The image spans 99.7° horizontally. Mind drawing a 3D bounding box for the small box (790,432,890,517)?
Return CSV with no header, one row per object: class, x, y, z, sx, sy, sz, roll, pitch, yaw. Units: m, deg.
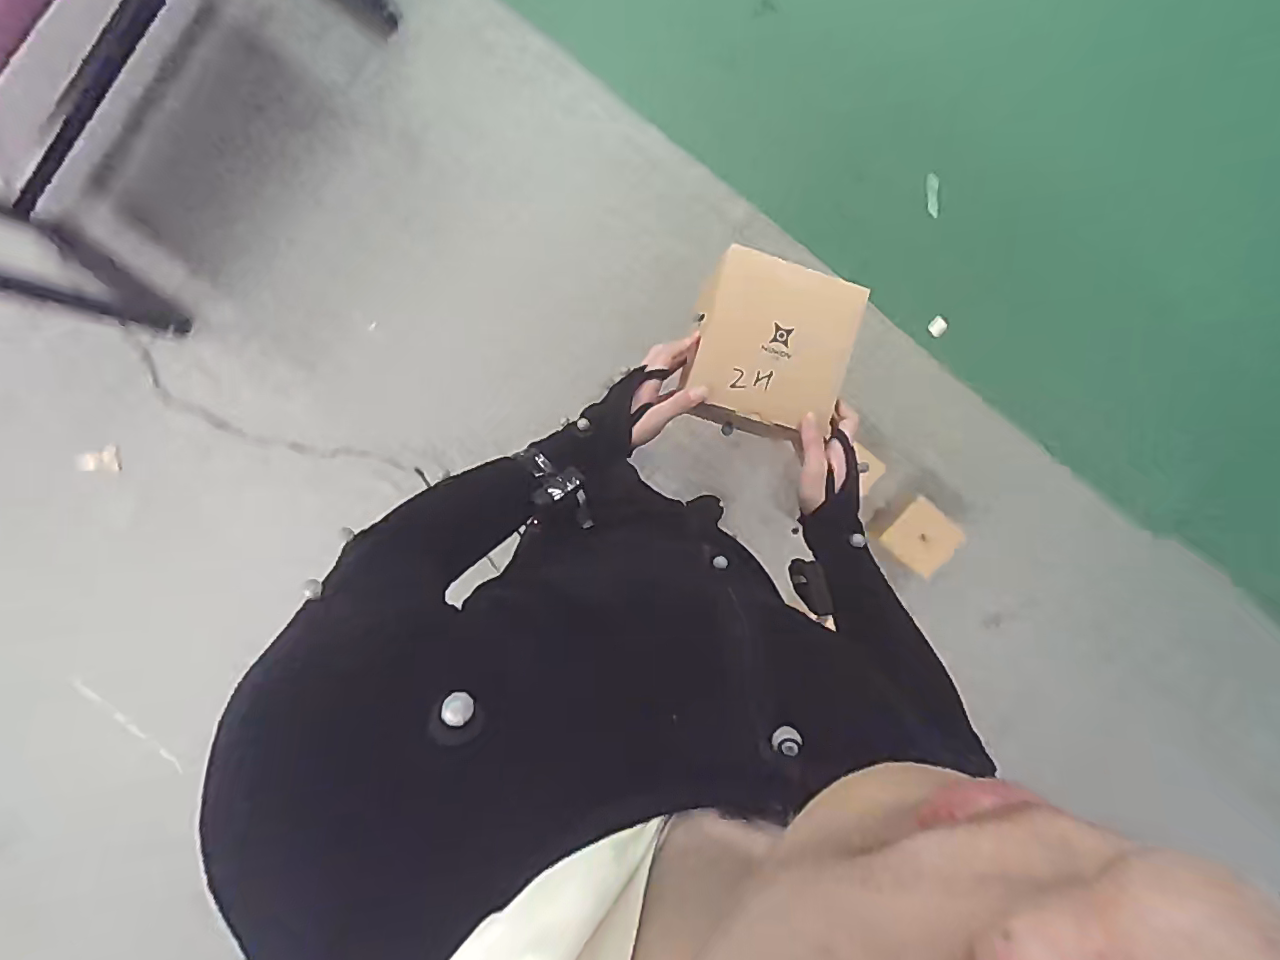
small box,0.554,-0.021,1.521,0.179,0.176,0.168,41,94,0
